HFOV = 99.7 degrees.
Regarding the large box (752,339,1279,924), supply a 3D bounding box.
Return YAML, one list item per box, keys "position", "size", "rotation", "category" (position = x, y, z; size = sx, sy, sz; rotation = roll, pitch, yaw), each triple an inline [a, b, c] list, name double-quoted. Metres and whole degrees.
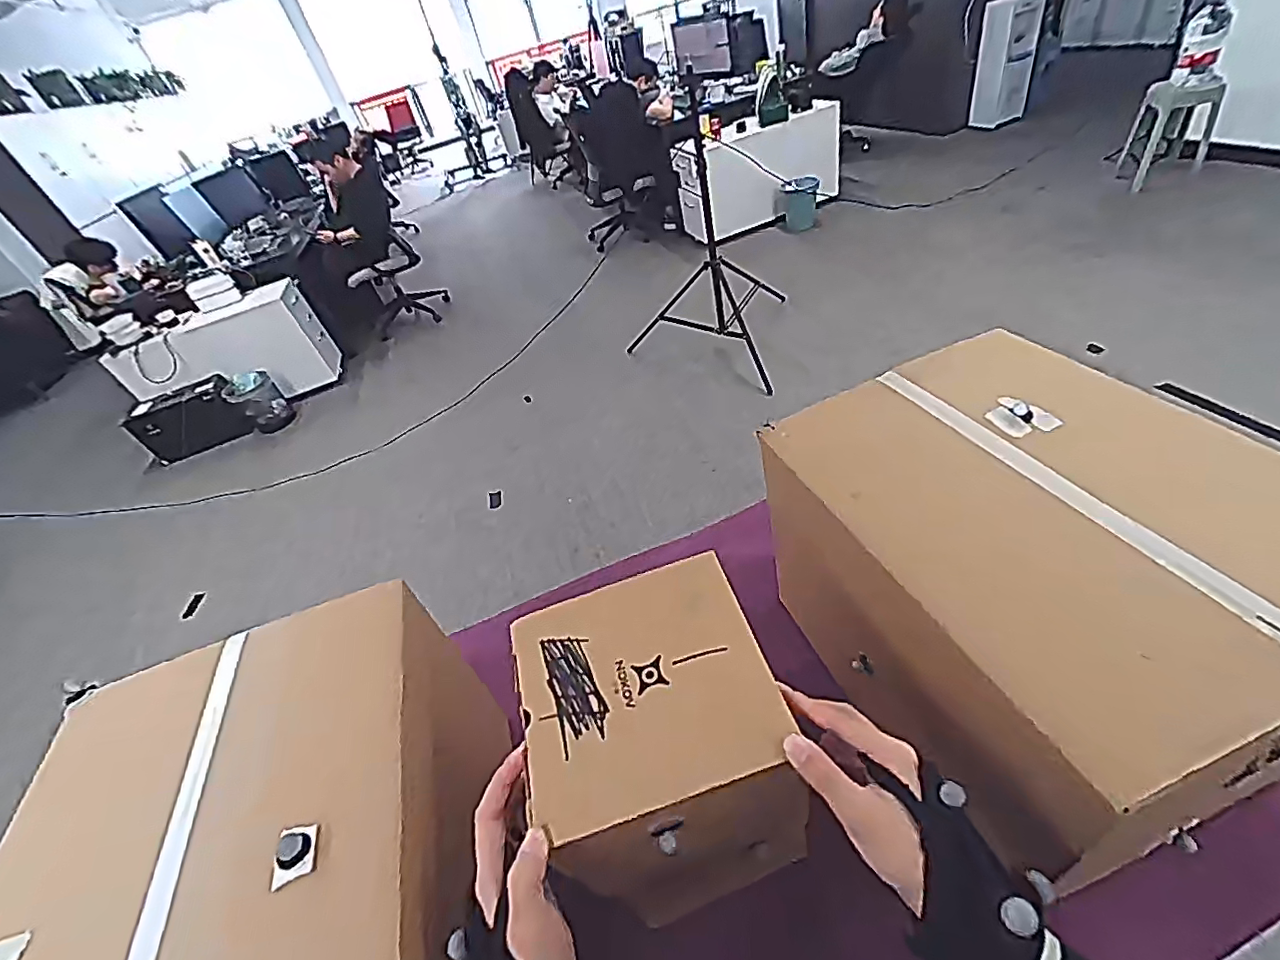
- position: [0.361, 0.115, 0.545]
  size: [0.320, 0.320, 0.408]
  rotation: [-22, 39, -7]
  category: "large box"
